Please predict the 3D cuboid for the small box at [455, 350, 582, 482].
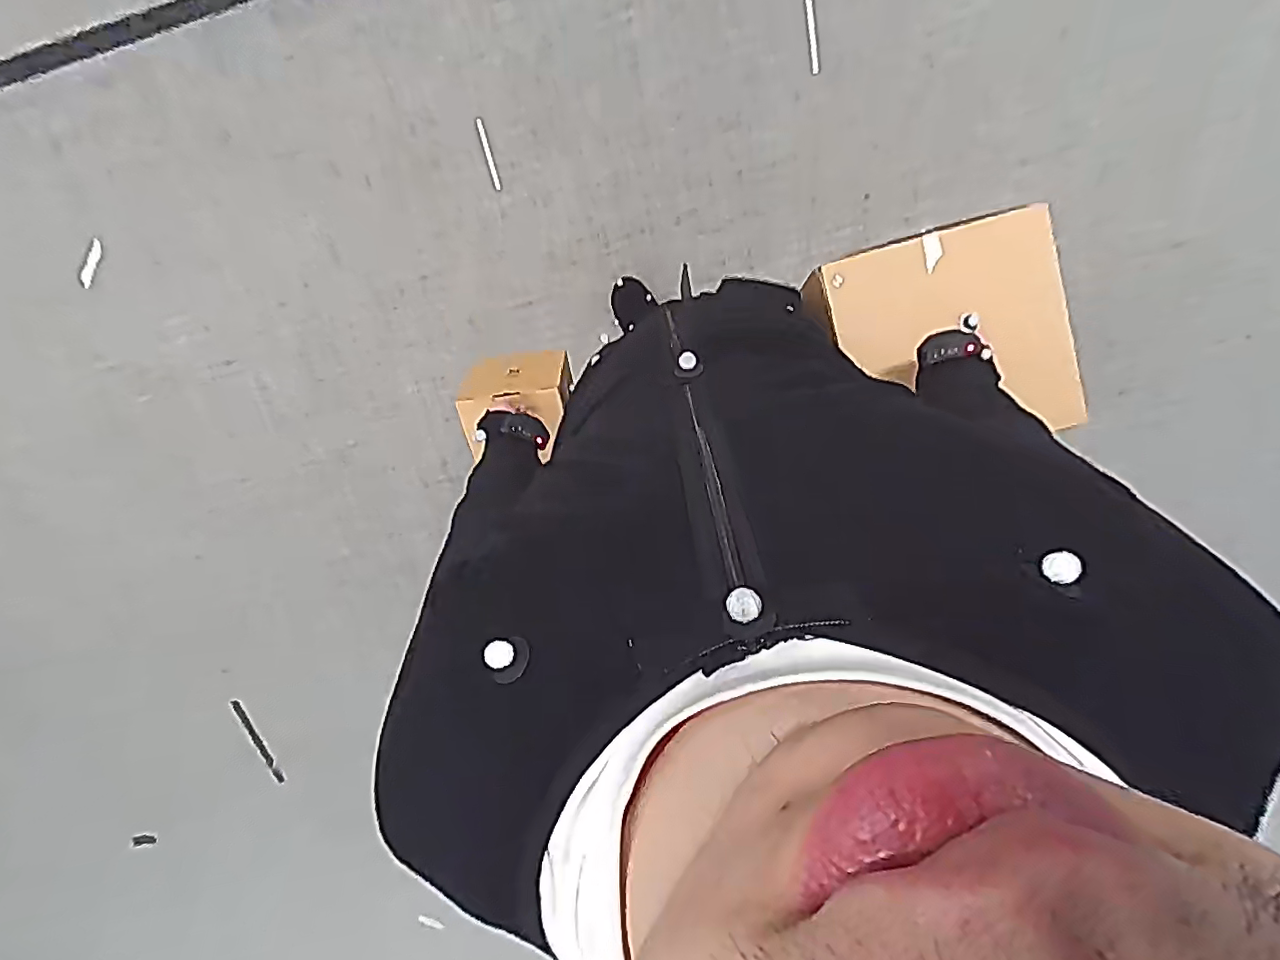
[{"bbox_3d":[-0.200,-0.108,0.947,0.168,0.179,0.176,-7,124,2],"label":"small box"}]
